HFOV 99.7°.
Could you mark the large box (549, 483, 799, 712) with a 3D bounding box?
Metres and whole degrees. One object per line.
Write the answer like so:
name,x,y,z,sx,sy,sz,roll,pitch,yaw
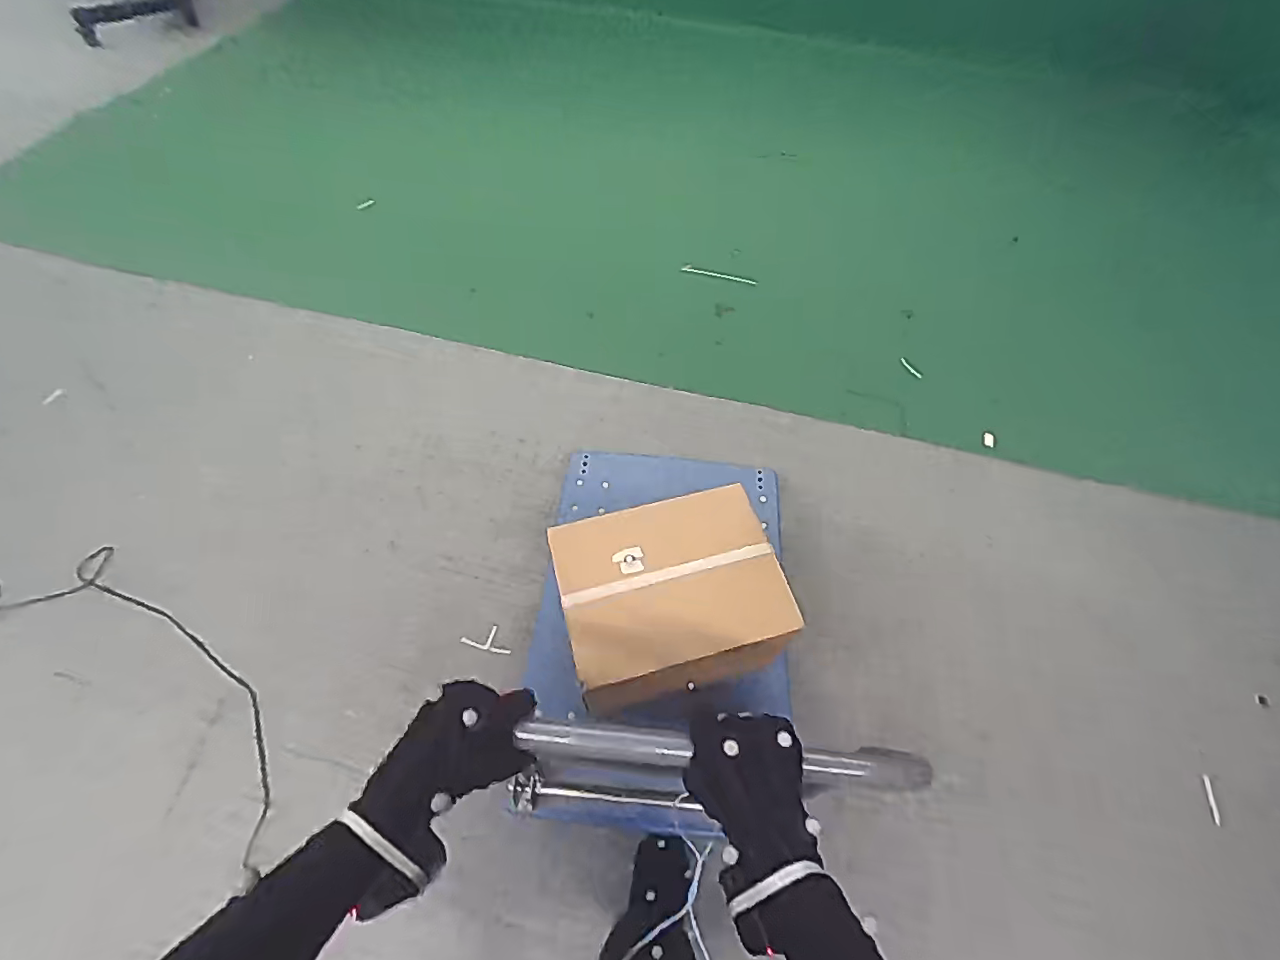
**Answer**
large box,0.054,0.252,1.128,0.408,0.320,0.320,-13,59,-9
